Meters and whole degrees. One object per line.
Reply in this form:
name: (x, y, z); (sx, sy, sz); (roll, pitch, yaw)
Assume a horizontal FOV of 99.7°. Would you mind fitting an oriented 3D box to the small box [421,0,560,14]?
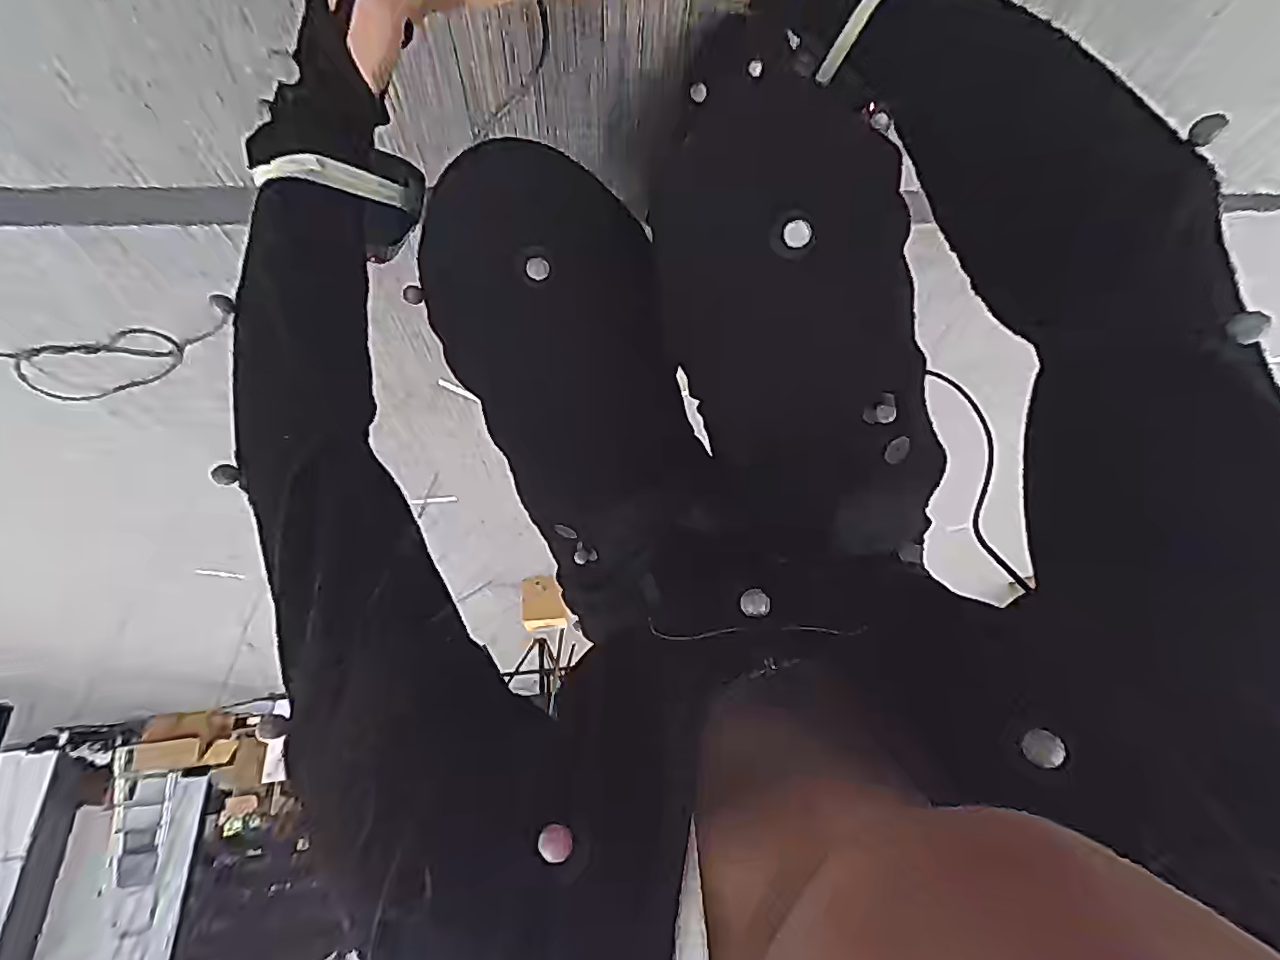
small box: (-0.074, -0.428, 0.316); (0.168, 0.176, 0.179); (-6, 156, 0)
